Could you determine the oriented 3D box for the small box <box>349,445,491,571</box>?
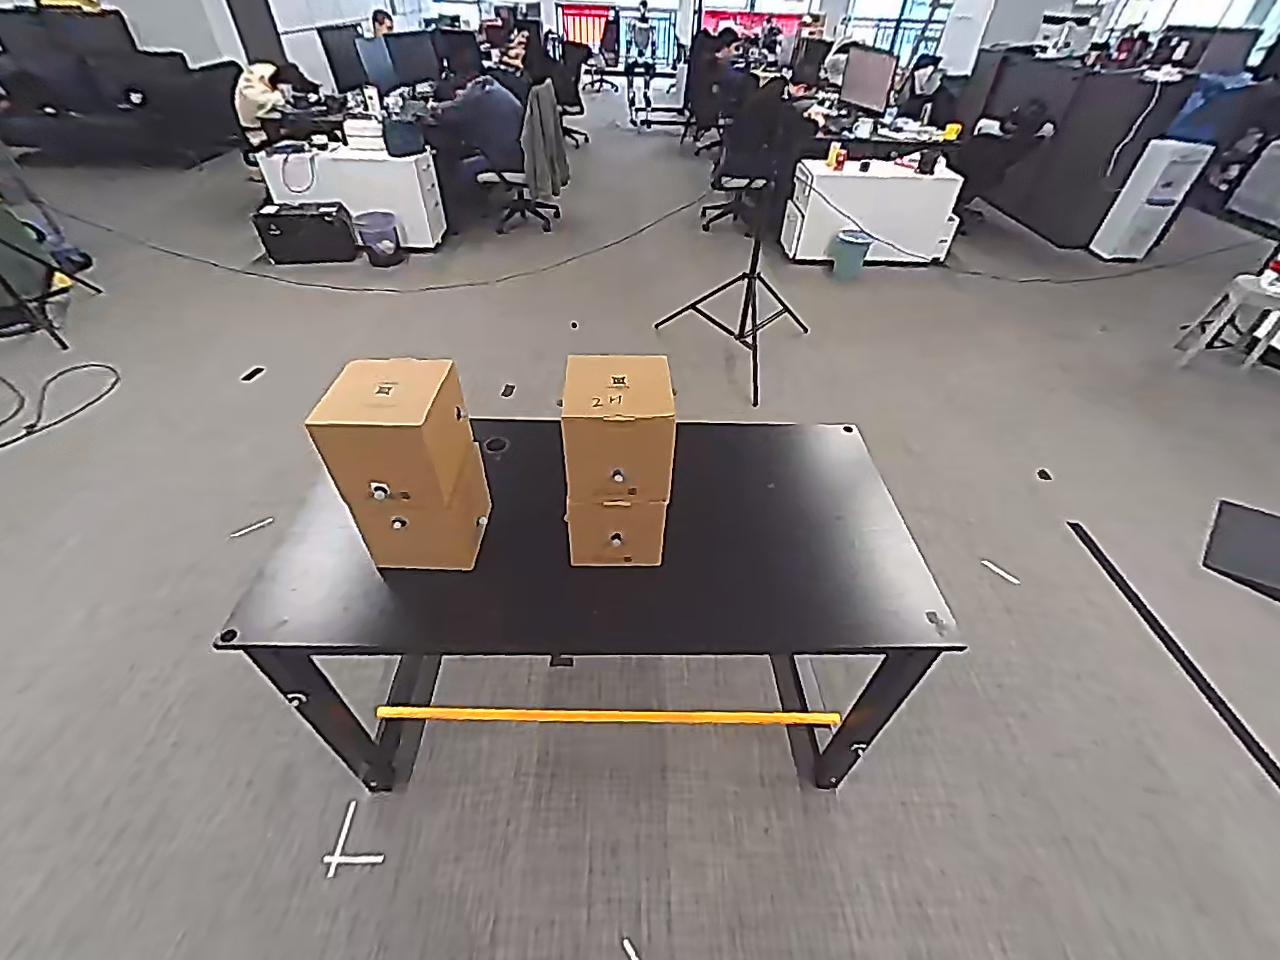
[{"bbox_3d":[-0.383,0.049,0.977,0.179,0.176,0.168,2,43,-1],"label":"small box"}]

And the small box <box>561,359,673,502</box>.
[{"bbox_3d":[-0.038,-0.083,0.893,0.168,0.176,0.179,-1,42,-2],"label":"small box"}]

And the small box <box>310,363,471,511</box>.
[{"bbox_3d":[-0.380,-0.070,0.866,0.168,0.176,0.179,0,43,-1],"label":"small box"}]

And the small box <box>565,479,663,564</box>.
[{"bbox_3d":[-0.045,0.043,1.001,0.168,0.176,0.179,0,43,-3],"label":"small box"}]
